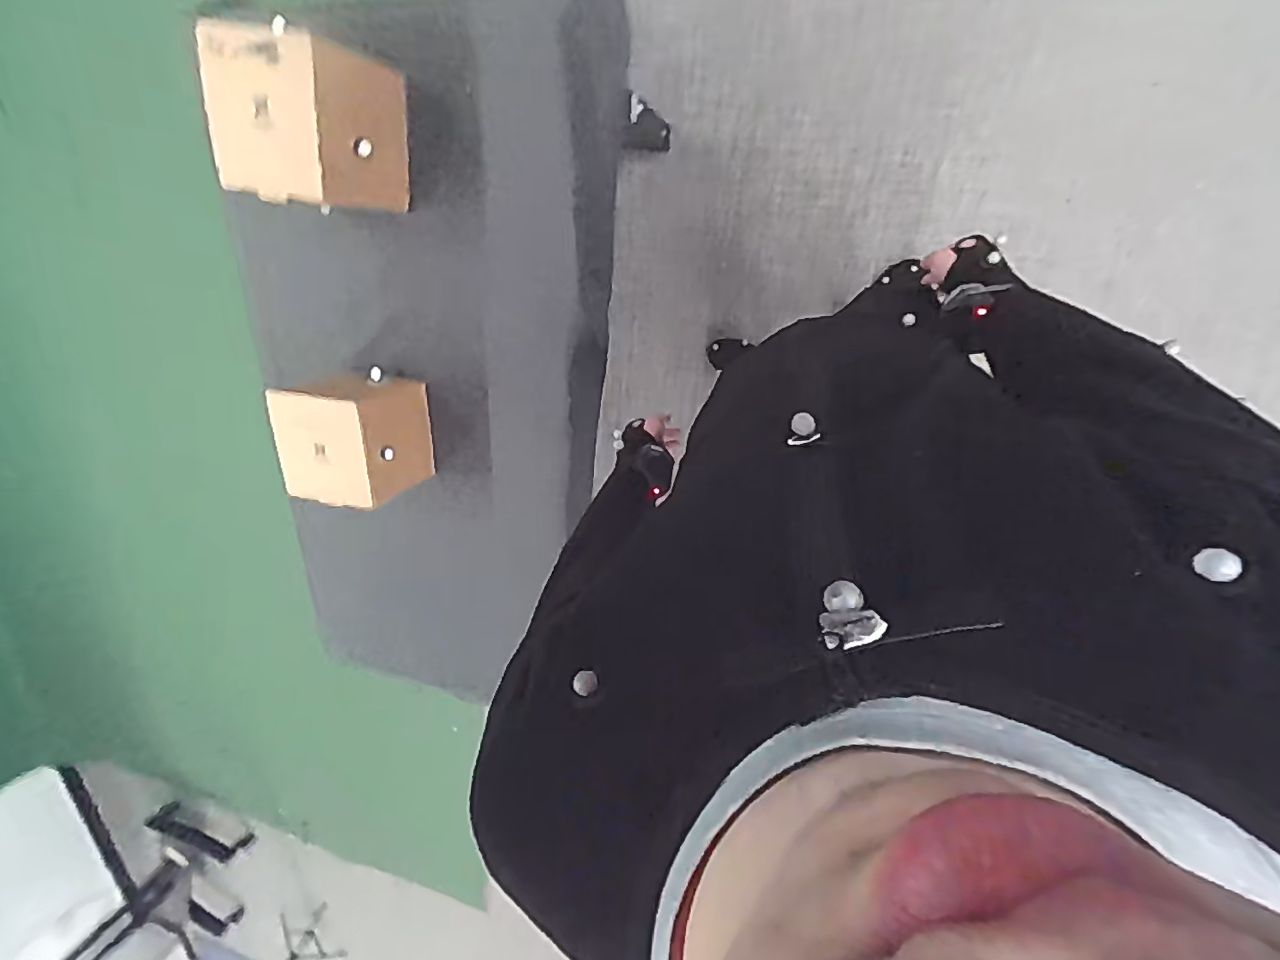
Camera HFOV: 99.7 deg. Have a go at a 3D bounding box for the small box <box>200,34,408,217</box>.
[{"bbox_3d":[-0.438,-0.465,0.736,0.168,0.176,0.179,14,116,10],"label":"small box"}]

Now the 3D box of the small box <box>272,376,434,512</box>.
[{"bbox_3d":[-0.469,-0.068,0.913,0.168,0.176,0.179,8,112,13],"label":"small box"}]
